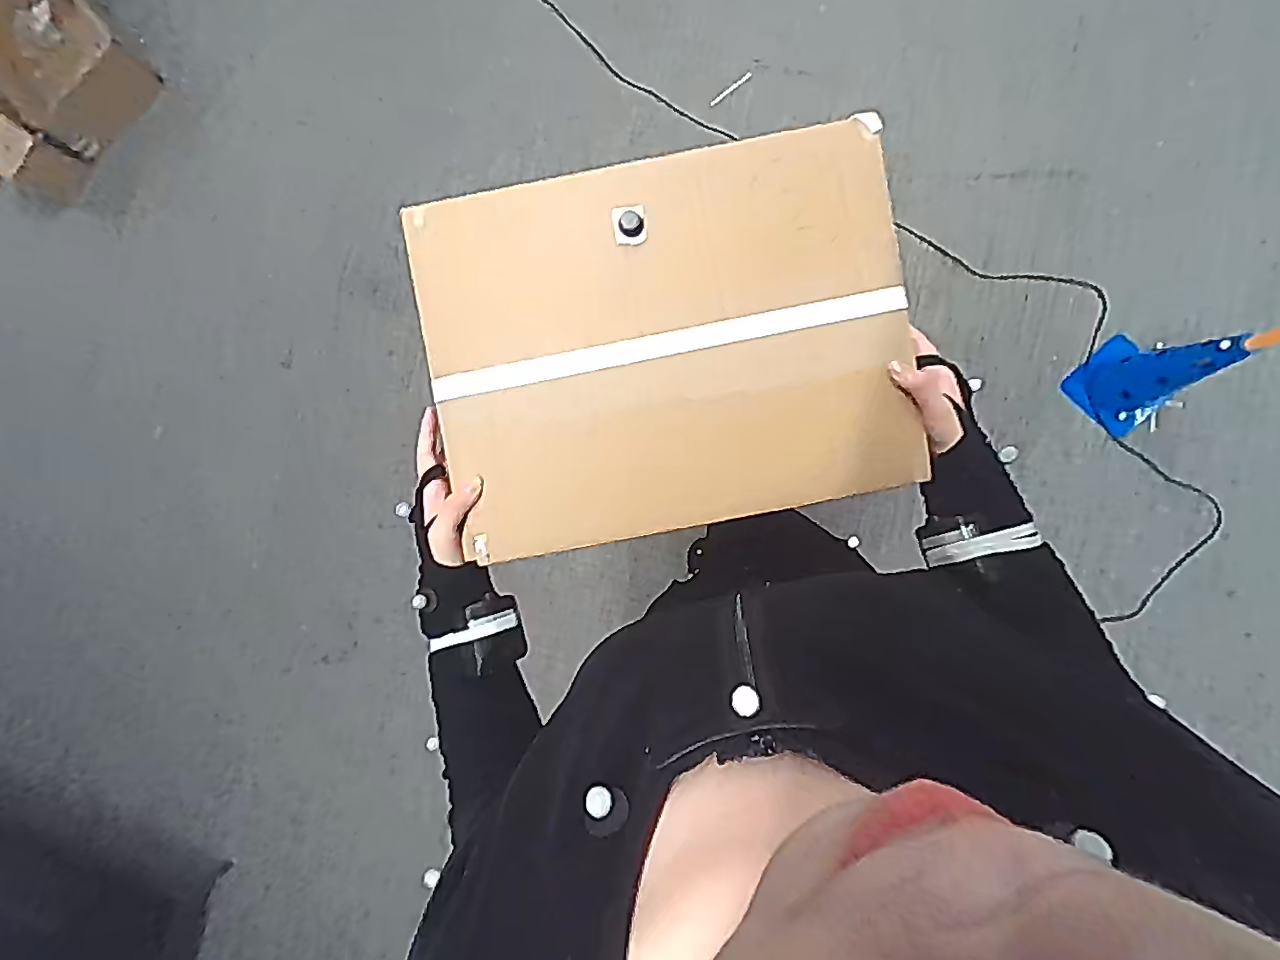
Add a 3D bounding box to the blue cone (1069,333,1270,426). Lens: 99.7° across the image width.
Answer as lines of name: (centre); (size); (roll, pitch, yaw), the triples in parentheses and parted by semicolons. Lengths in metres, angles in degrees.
blue cone: (1.172, -0.256, 1.175); (0.193, 0.380, 0.192); (44, 95, 8)
